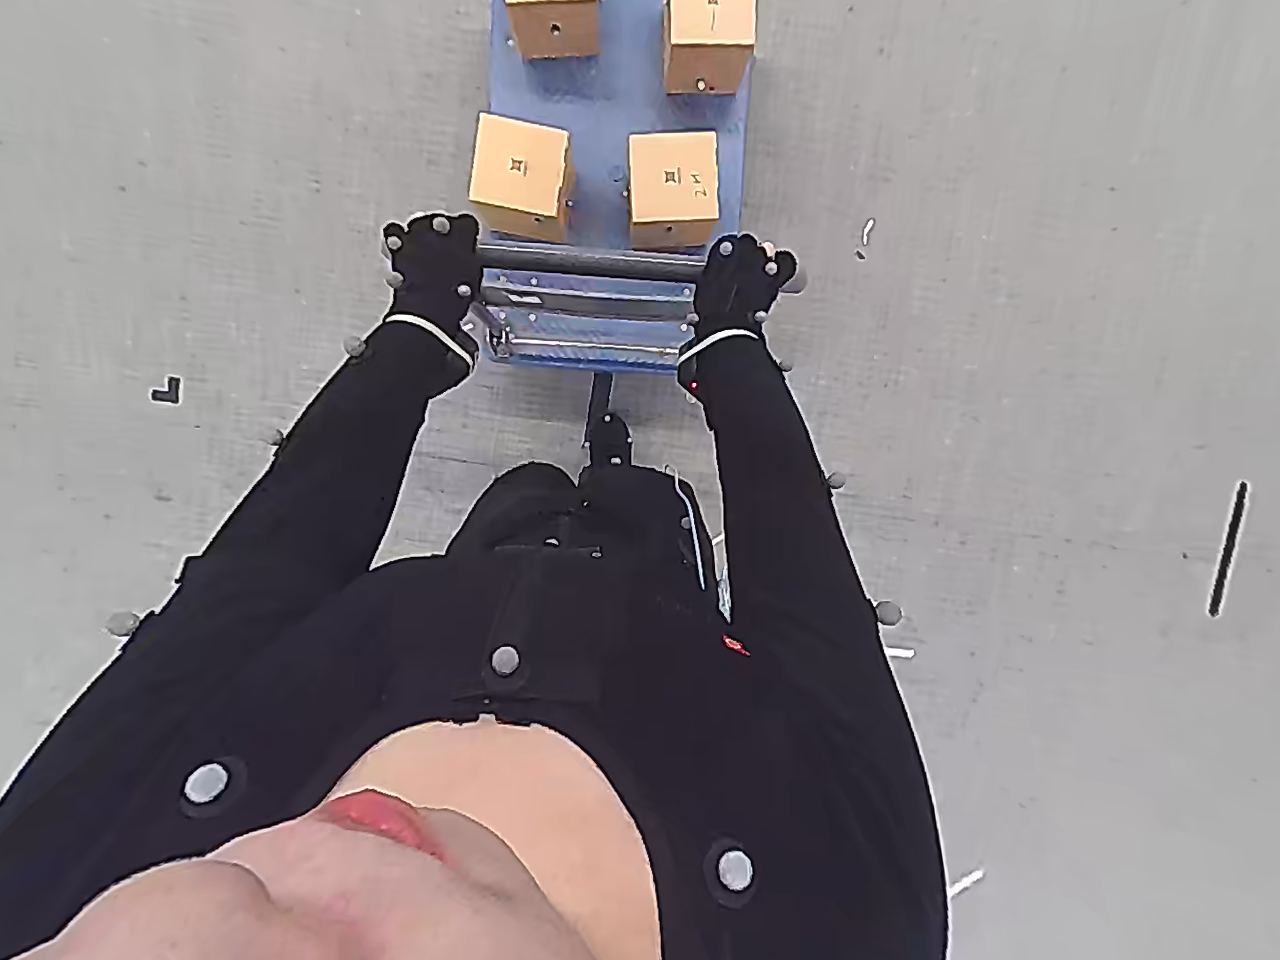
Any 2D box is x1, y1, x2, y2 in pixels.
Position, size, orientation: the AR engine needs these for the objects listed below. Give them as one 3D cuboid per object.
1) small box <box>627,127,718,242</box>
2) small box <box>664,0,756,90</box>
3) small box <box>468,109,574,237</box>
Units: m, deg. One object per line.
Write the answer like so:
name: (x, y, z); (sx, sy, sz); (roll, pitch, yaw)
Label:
small box: (0.065, -0.611, 1.136); (0.179, 0.176, 0.168); (-3, 97, -1)
small box: (0.136, -0.938, 1.097); (0.168, 0.176, 0.179); (-1, 98, -1)
small box: (-0.240, -0.626, 1.126); (0.179, 0.176, 0.168); (9, 96, -4)
